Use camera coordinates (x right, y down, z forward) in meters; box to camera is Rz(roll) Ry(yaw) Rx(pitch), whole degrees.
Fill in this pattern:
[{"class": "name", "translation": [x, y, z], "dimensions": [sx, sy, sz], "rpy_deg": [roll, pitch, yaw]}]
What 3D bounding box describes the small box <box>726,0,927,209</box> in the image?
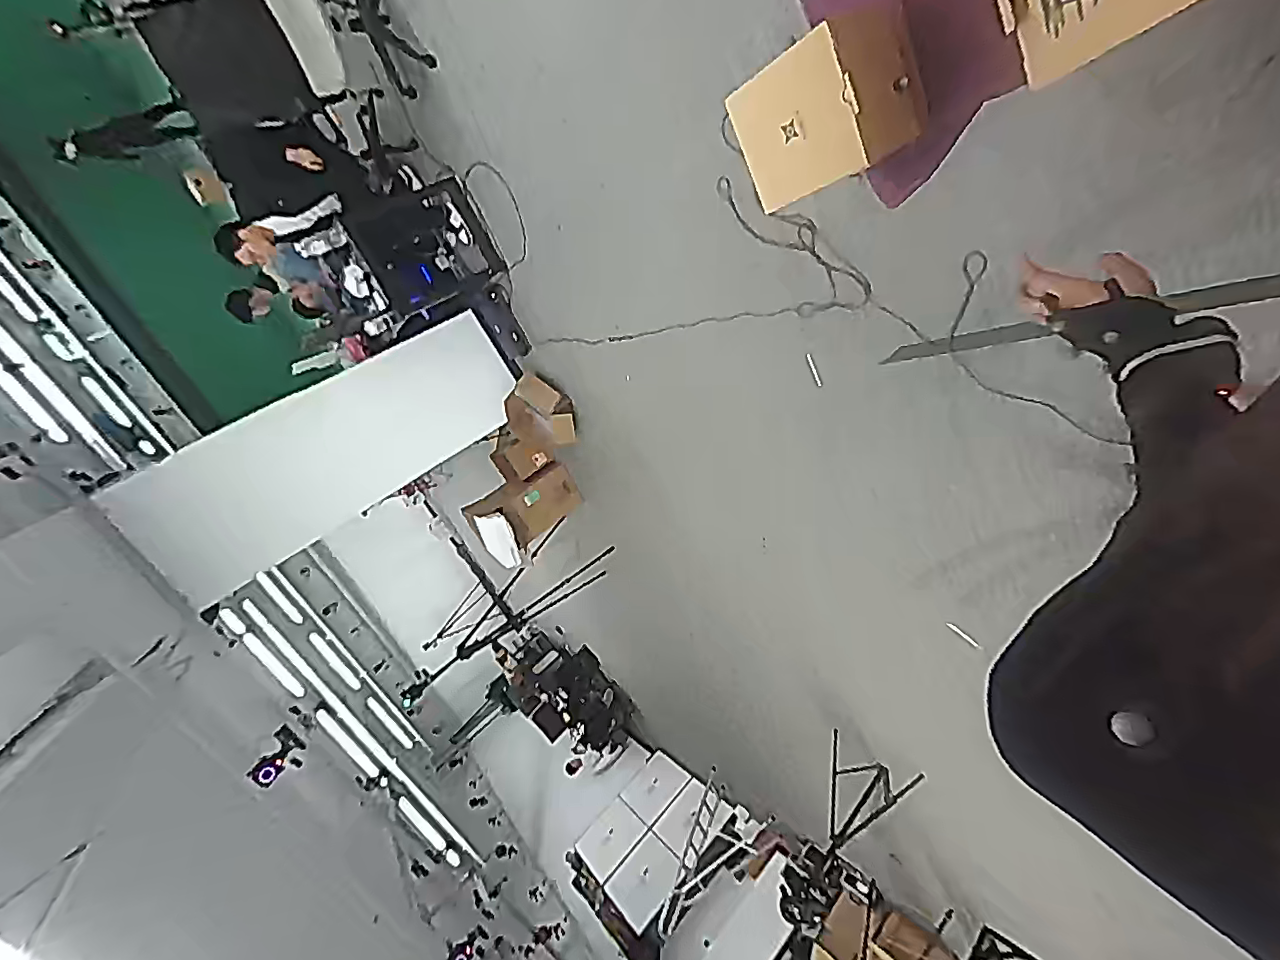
[{"class": "small box", "translation": [0.259, -0.510, 0.748], "dimensions": [0.179, 0.176, 0.168], "rpy_deg": [4, 127, 56]}]
